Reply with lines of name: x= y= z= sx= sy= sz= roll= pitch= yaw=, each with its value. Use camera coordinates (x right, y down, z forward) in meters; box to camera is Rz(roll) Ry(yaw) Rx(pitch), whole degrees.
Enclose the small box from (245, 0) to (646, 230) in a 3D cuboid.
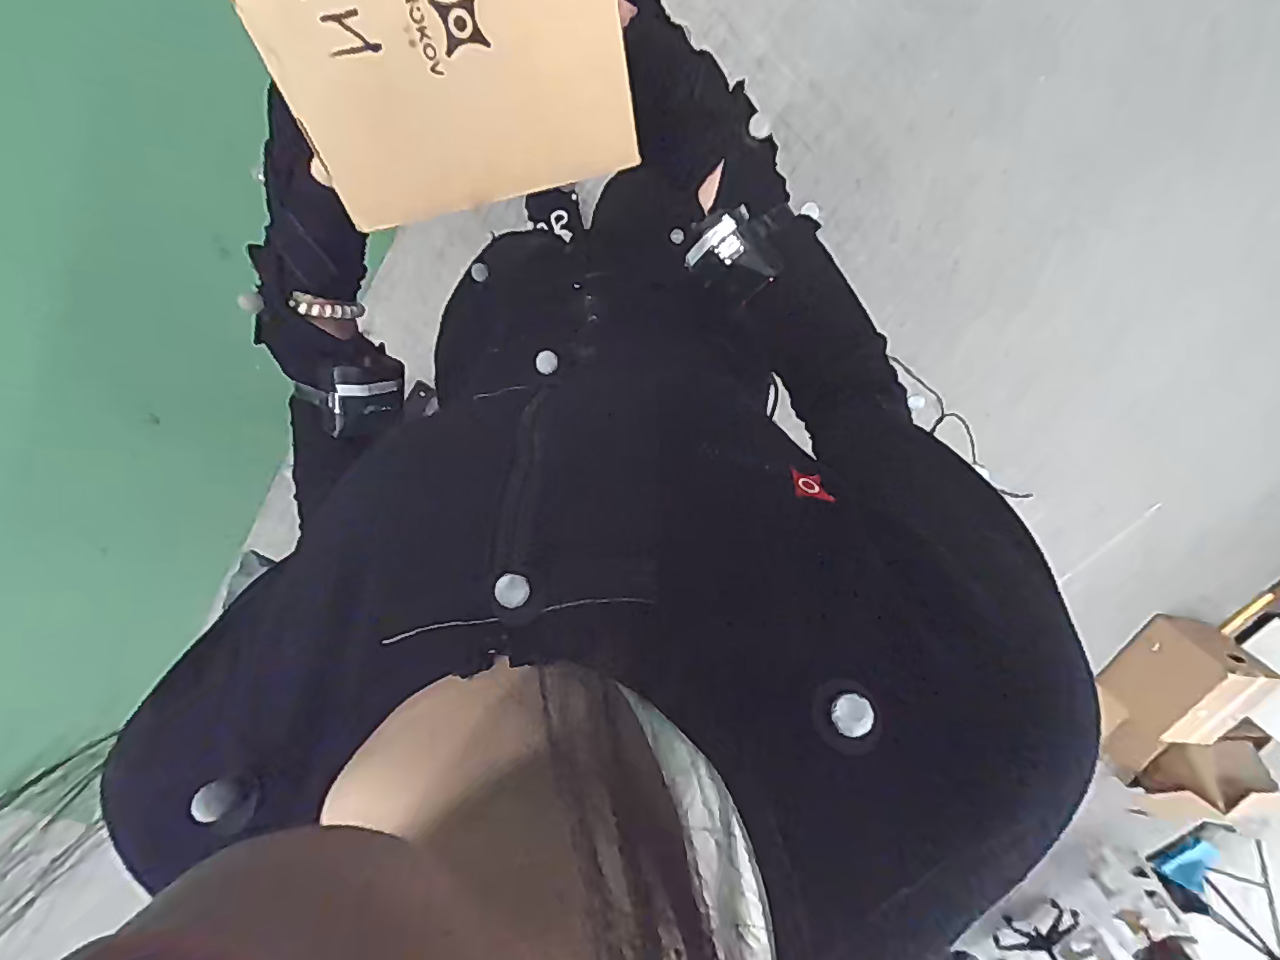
small box: x=-0.107 y=-0.278 z=0.314 sx=0.179 sy=0.176 sz=0.168 roll=-14 pitch=138 yaw=-2
